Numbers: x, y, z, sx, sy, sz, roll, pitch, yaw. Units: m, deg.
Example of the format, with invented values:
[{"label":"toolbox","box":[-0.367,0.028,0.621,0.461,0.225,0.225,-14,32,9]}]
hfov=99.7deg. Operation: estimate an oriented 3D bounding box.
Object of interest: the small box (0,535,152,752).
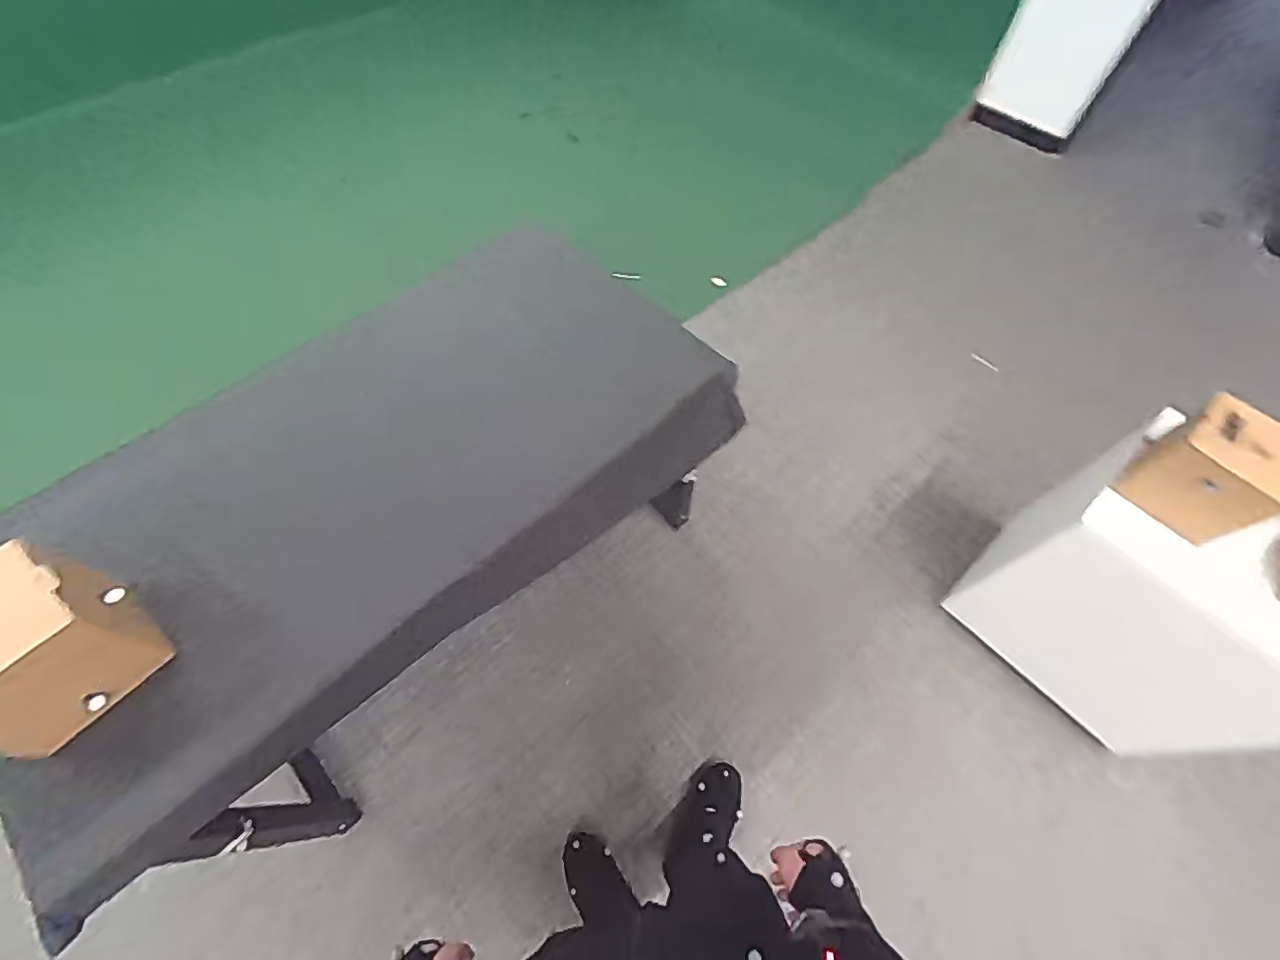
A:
[{"label":"small box","box":[-0.769,0.206,0.670,0.168,0.176,0.179,36,65,17]}]

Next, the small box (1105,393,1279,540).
[{"label":"small box","box":[1.024,-0.018,0.993,0.168,0.176,0.179,-39,71,-20]}]

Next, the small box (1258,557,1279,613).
[{"label":"small box","box":[1.222,0.183,0.895,0.168,0.176,0.179,-36,67,-20]}]
